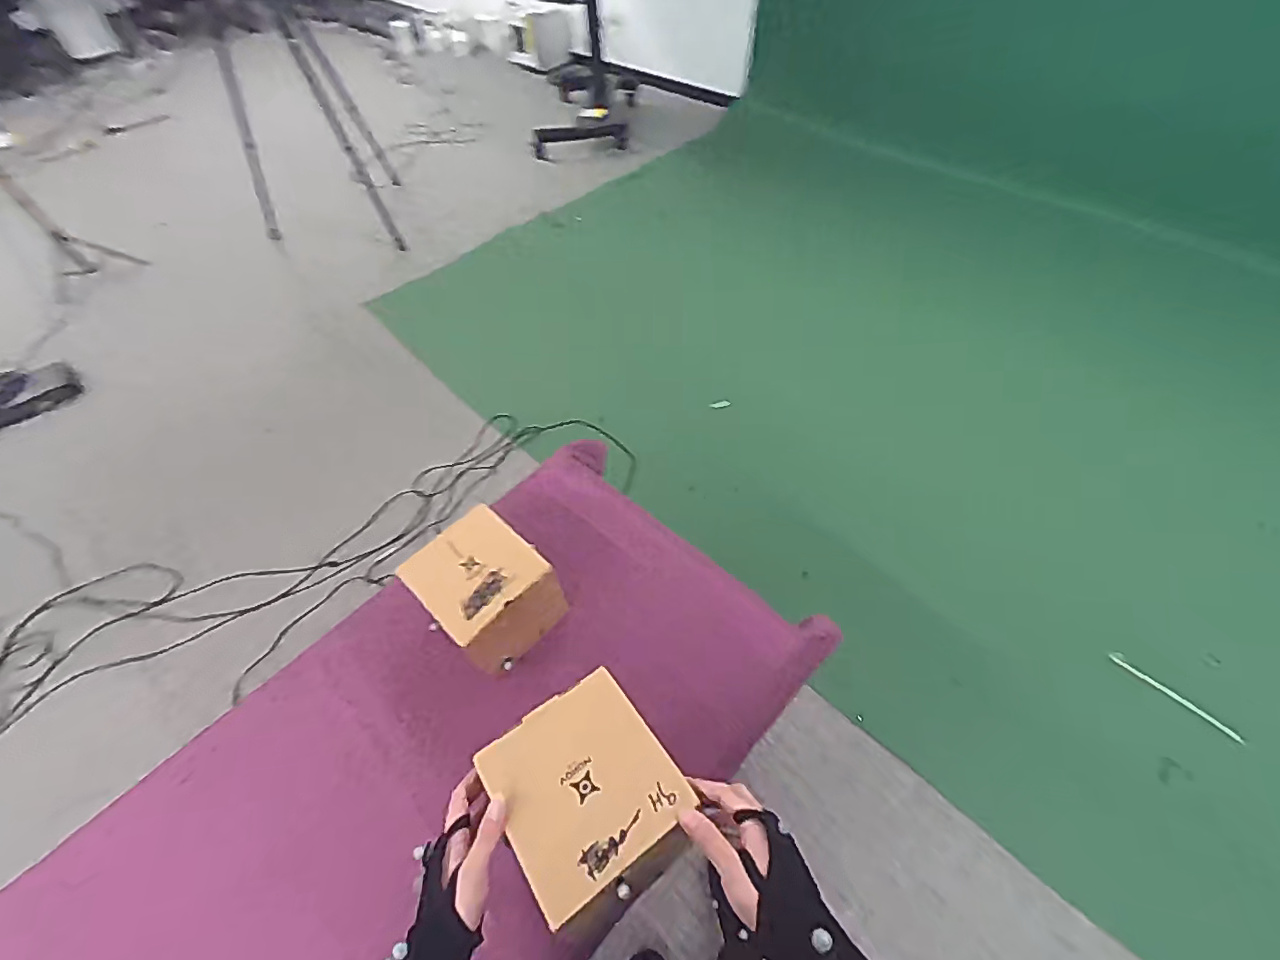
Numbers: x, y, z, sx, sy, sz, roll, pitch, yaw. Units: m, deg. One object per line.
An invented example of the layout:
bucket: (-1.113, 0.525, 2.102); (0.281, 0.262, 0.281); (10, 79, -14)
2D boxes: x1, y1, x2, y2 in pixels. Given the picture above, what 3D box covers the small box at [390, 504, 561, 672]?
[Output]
small box: (-0.247, 0.178, 0.854); (0.179, 0.176, 0.168); (36, 63, 27)
